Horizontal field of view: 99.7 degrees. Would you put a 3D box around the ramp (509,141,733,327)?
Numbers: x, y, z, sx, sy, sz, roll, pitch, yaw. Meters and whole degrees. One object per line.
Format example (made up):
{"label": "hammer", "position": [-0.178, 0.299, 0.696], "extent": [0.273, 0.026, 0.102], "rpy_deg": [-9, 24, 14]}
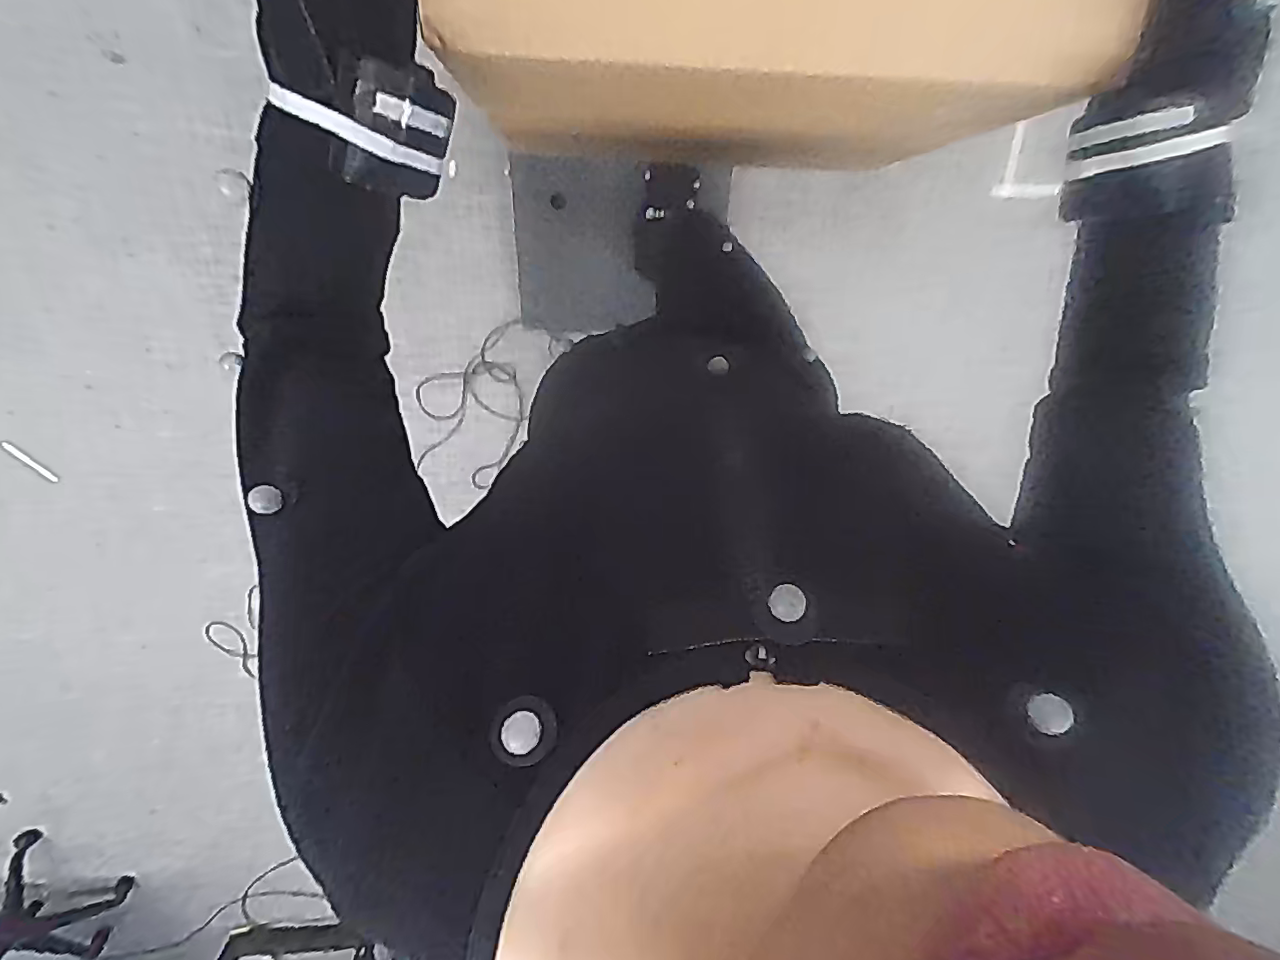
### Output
{"label": "ramp", "position": [-0.032, -0.812, 1.121], "extent": [0.509, 0.206, 0.991], "rpy_deg": [-3, 114, -5]}

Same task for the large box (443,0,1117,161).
{"label": "large box", "position": [0.074, -0.444, 0.402], "extent": [0.408, 0.320, 0.320], "rpy_deg": [-1, 112, -5]}
